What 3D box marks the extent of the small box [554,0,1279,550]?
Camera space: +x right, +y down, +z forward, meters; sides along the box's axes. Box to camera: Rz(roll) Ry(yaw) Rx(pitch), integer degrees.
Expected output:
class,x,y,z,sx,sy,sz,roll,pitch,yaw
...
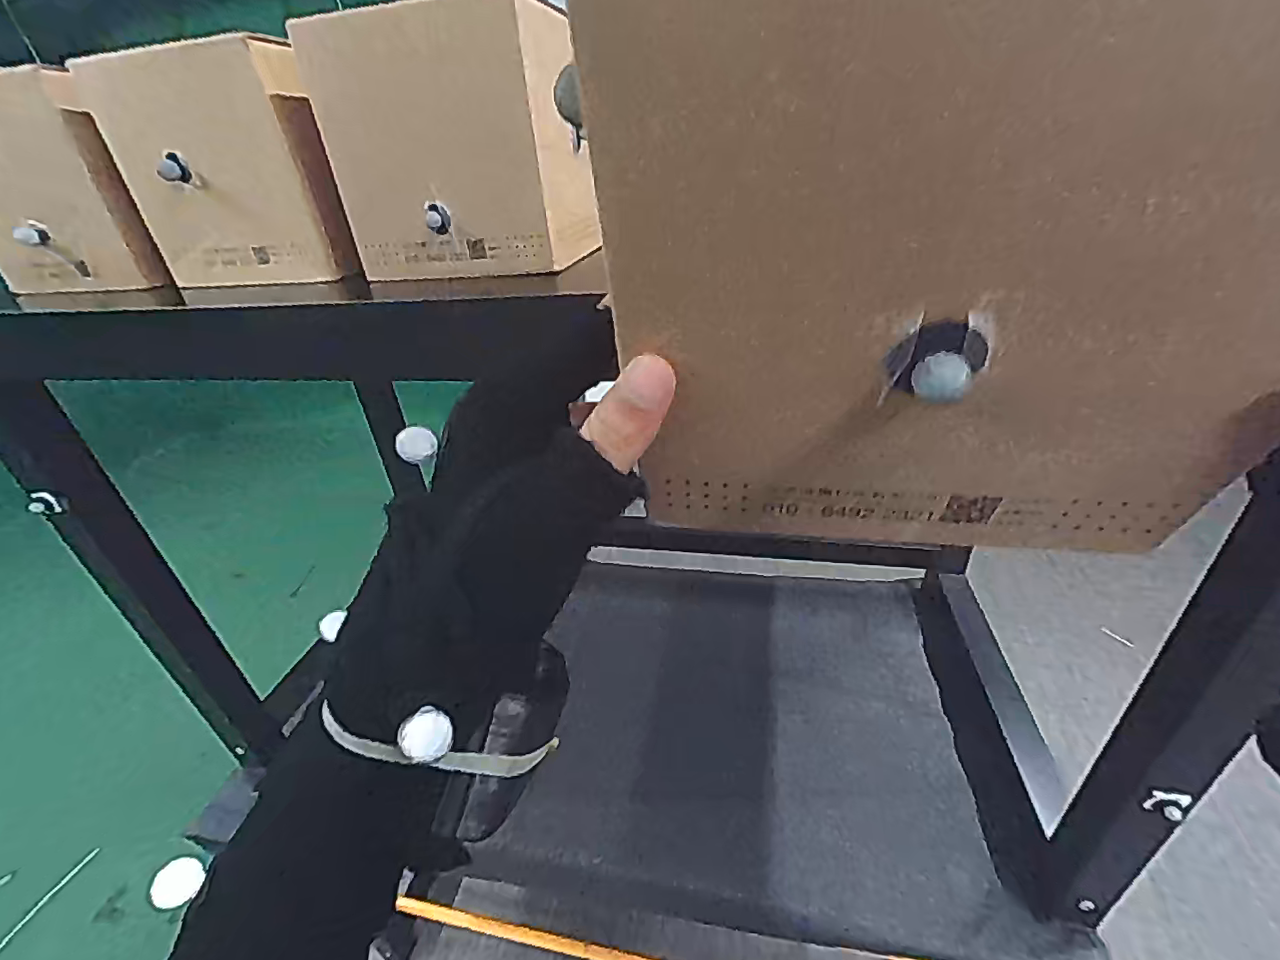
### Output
class,x,y,z,sx,sy,sz,roll,pitch,yaw
small box,0.086,-0.093,0.183,0.168,0.176,0.179,3,50,10

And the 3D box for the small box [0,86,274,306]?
class,x,y,z,sx,sy,sz,roll,pitch,yaw
small box,-0.516,-0.282,0.548,0.168,0.176,0.179,2,32,12
